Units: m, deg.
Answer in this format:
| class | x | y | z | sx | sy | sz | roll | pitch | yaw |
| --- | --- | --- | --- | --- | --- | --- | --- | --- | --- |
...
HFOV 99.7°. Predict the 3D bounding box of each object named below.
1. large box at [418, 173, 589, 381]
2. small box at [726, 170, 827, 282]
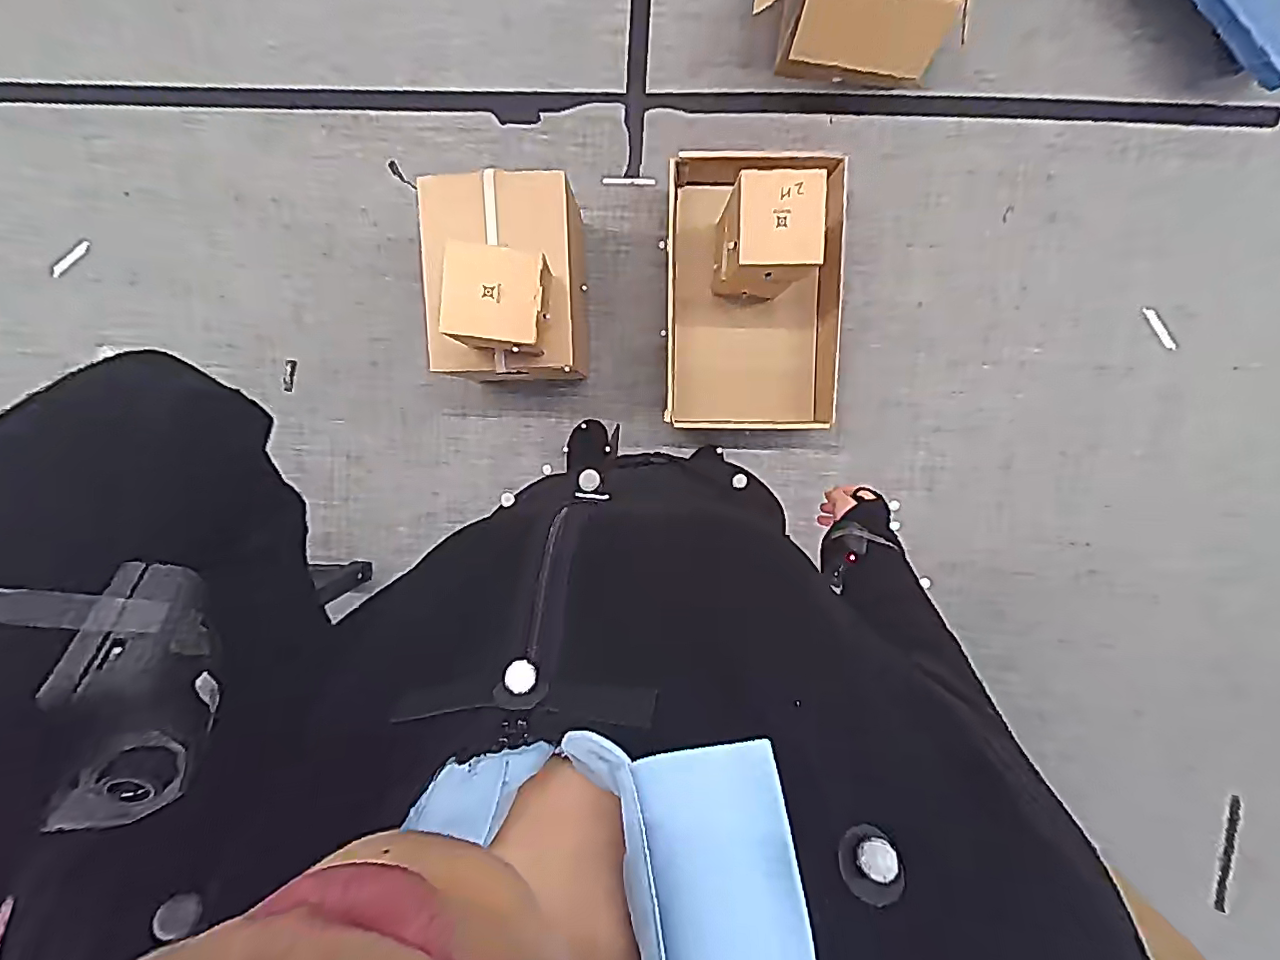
| class | x | y | z | sx | sy | sz | roll | pitch | yaw |
| --- | --- | --- | --- | --- | --- | --- | --- | --- | --- |
| large box | -0.295 | -0.449 | 1.283 | 0.320 | 0.320 | 0.408 | -2 | 97 | 2 |
| small box | 0.274 | -0.514 | 1.117 | 0.168 | 0.176 | 0.179 | 0 | 98 | 0 |
